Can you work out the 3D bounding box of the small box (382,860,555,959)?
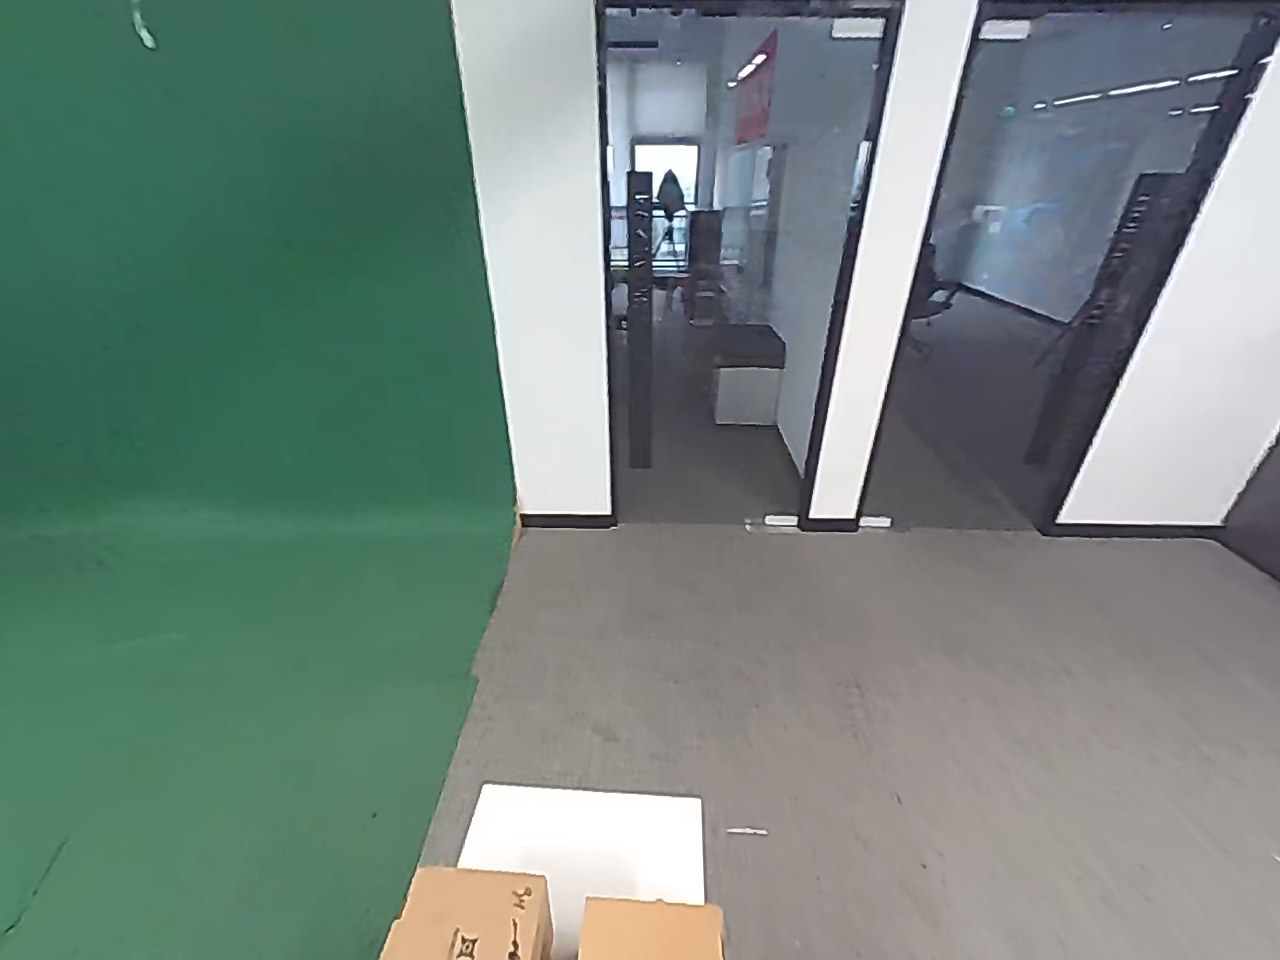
[{"bbox_3d":[-0.215,0.623,0.691,0.179,0.176,0.168,2,31,3],"label":"small box"}]
